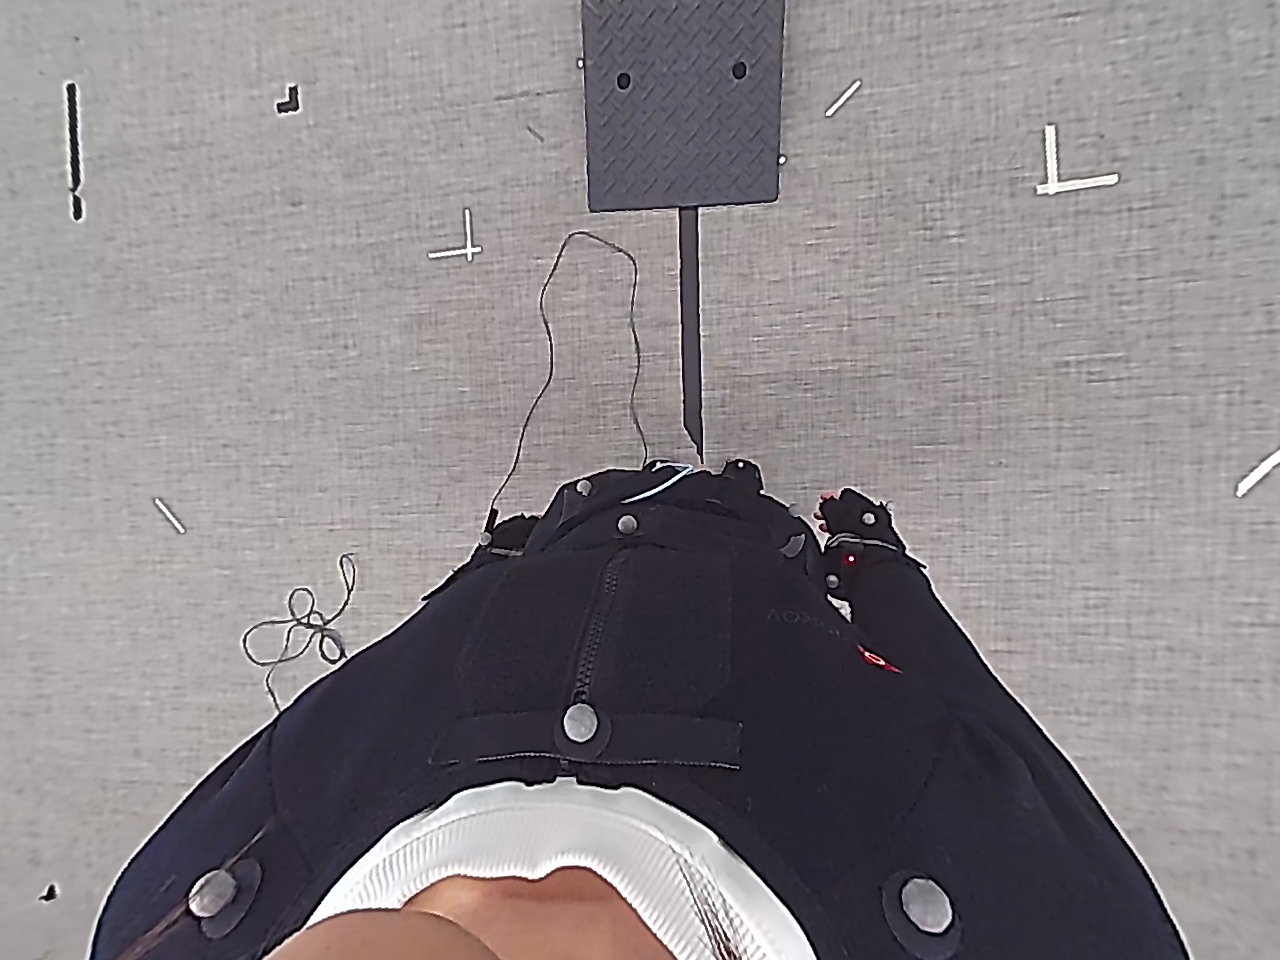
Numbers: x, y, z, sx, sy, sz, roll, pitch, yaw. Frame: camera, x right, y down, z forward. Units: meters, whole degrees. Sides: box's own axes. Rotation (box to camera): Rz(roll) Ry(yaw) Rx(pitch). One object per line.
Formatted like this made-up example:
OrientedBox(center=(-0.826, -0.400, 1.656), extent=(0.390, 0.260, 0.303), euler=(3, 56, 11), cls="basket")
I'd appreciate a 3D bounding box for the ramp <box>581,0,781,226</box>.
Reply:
OrientedBox(center=(0.097, -1.179, 1.327), extent=(0.509, 0.206, 0.991), euler=(-3, 92, 8), cls="ramp")
